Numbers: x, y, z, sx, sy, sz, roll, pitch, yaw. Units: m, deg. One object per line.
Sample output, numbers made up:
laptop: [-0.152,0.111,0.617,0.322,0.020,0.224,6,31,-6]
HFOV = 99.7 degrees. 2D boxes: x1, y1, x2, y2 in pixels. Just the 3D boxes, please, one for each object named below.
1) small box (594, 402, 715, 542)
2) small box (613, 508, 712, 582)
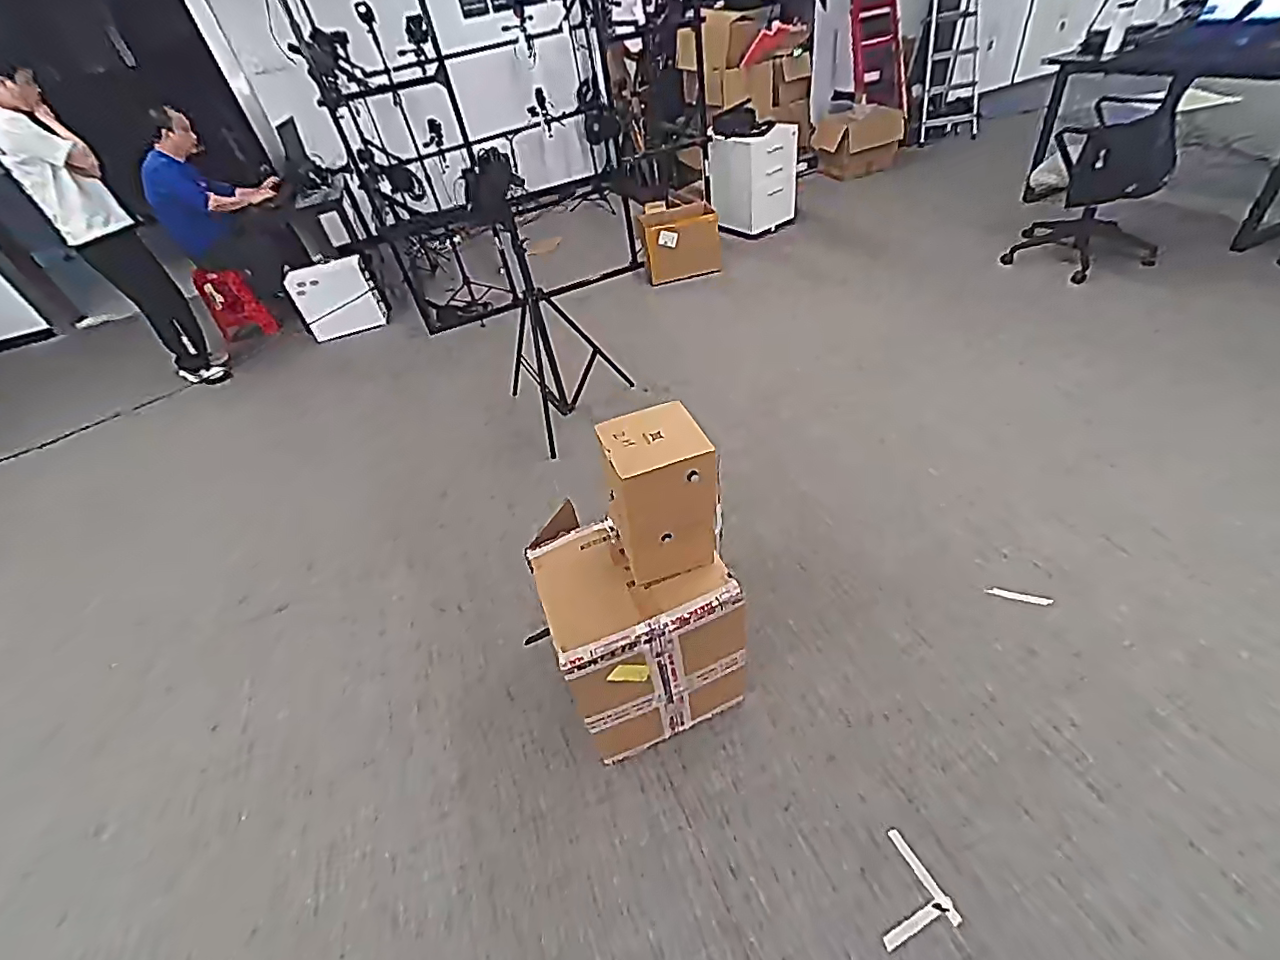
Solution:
small box: [0.028,-0.014,1.006,0.179,0.176,0.168,-18,43,-10]
small box: [0.043,0.089,1.137,0.179,0.176,0.168,-16,44,-8]
